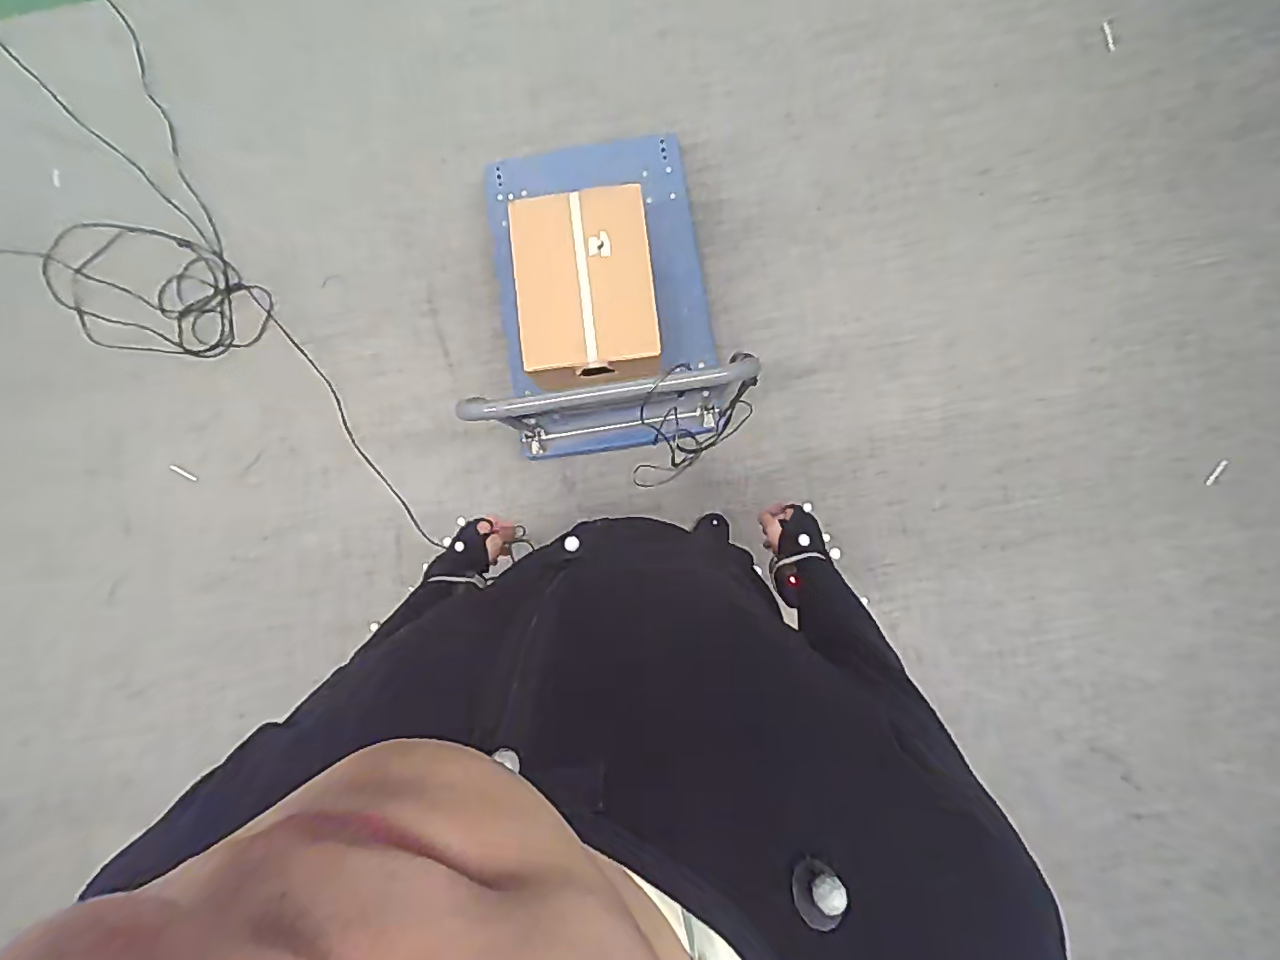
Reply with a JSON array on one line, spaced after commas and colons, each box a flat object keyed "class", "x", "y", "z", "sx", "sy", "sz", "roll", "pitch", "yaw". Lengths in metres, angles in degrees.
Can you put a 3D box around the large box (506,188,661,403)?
[{"class": "large box", "x": -0.125, "y": -0.437, "z": 1.360, "sx": 0.320, "sy": 0.320, "sz": 0.408, "roll": -6, "pitch": 85, "yaw": 0}]
